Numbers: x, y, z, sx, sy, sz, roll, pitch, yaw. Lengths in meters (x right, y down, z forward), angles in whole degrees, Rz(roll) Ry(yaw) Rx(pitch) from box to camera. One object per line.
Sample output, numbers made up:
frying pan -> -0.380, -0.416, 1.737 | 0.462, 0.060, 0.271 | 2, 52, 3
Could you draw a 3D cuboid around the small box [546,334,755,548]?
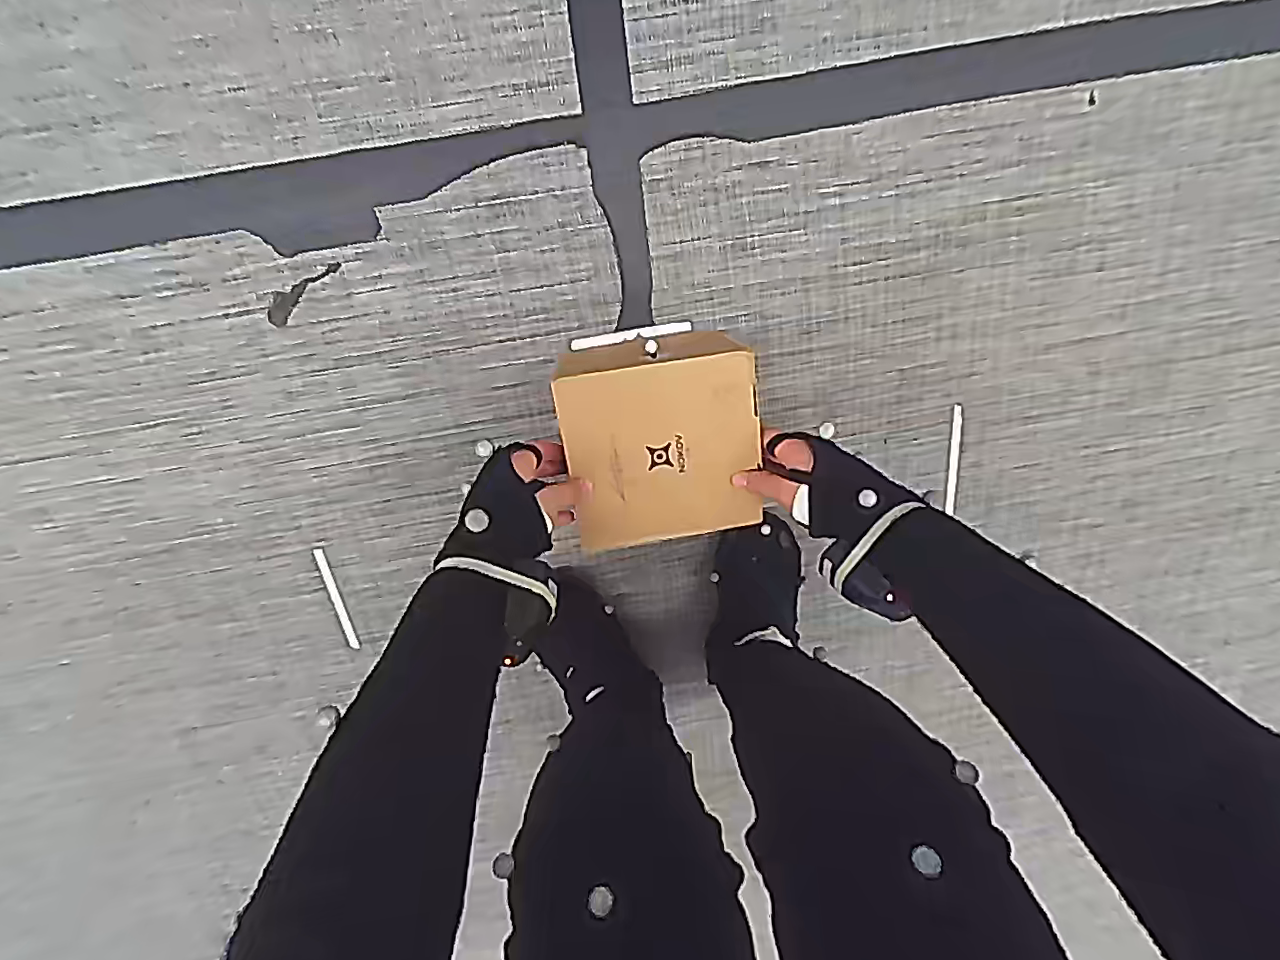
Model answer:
small box -> 0.008, -0.052, 0.563 | 0.179, 0.176, 0.168 | -10, 110, -1
